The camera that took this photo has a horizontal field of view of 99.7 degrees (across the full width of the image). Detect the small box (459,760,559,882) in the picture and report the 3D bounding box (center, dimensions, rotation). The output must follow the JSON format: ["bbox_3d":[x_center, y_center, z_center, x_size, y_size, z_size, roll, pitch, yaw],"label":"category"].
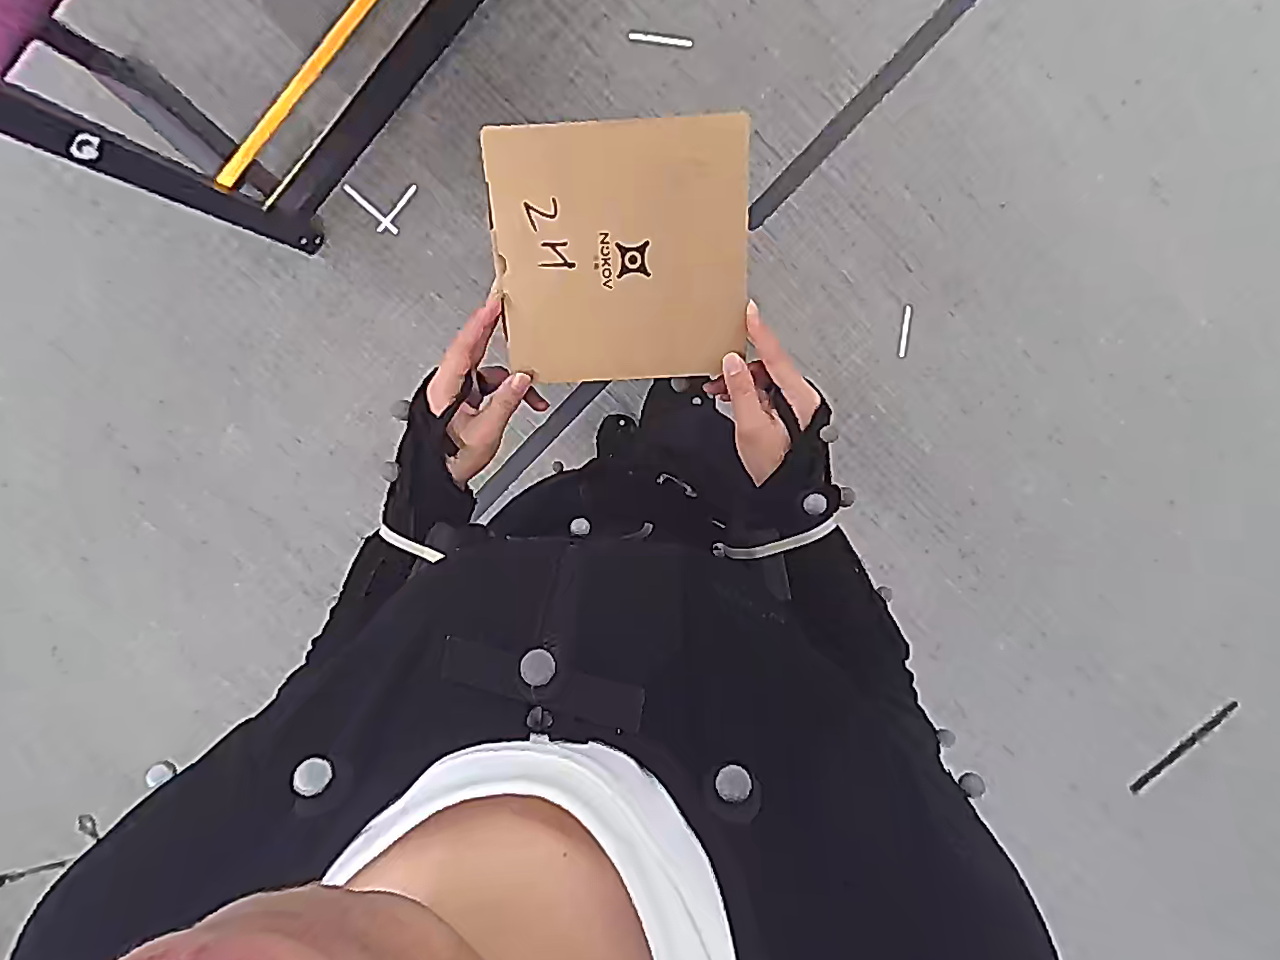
[{"bbox_3d":[-0.331,0.882,1.413,0.168,0.176,0.179,-40,97,6],"label":"small box"}]

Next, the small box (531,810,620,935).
[{"bbox_3d":[-0.163,1.041,1.446,0.168,0.176,0.179,37,97,-7],"label":"small box"}]

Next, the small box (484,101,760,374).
[{"bbox_3d":[-0.009,-0.182,0.437,0.179,0.176,0.168,-2,109,2],"label":"small box"}]
